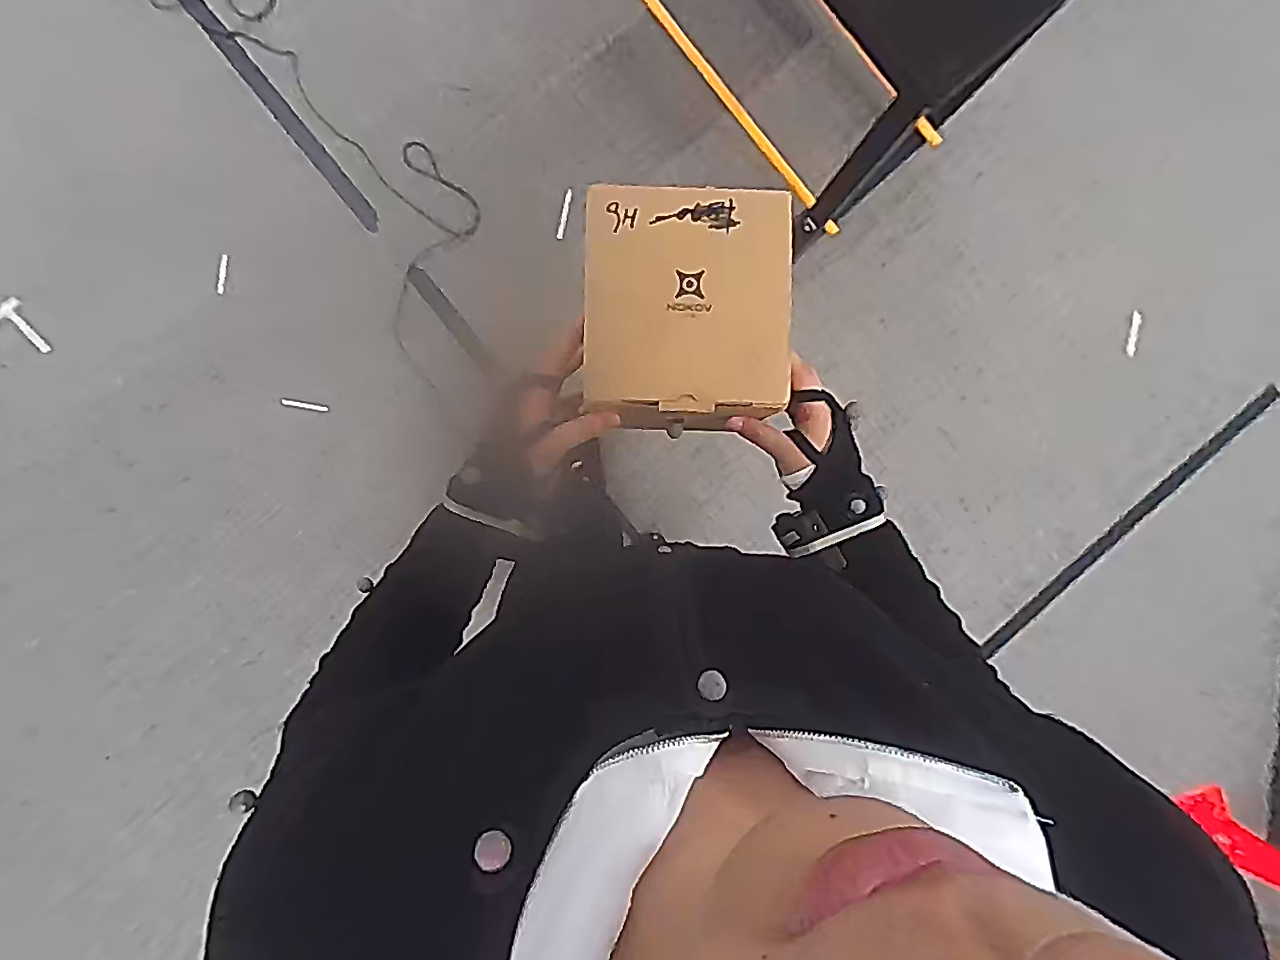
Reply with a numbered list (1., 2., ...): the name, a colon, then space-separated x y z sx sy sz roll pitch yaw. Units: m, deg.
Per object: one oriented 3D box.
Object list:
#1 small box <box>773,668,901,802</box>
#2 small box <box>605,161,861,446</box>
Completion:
1. small box: 0.430 0.557 1.207 0.168 0.176 0.179 -41 94 -3
2. small box: 0.059 -0.117 0.428 0.168 0.176 0.179 0 90 -2
